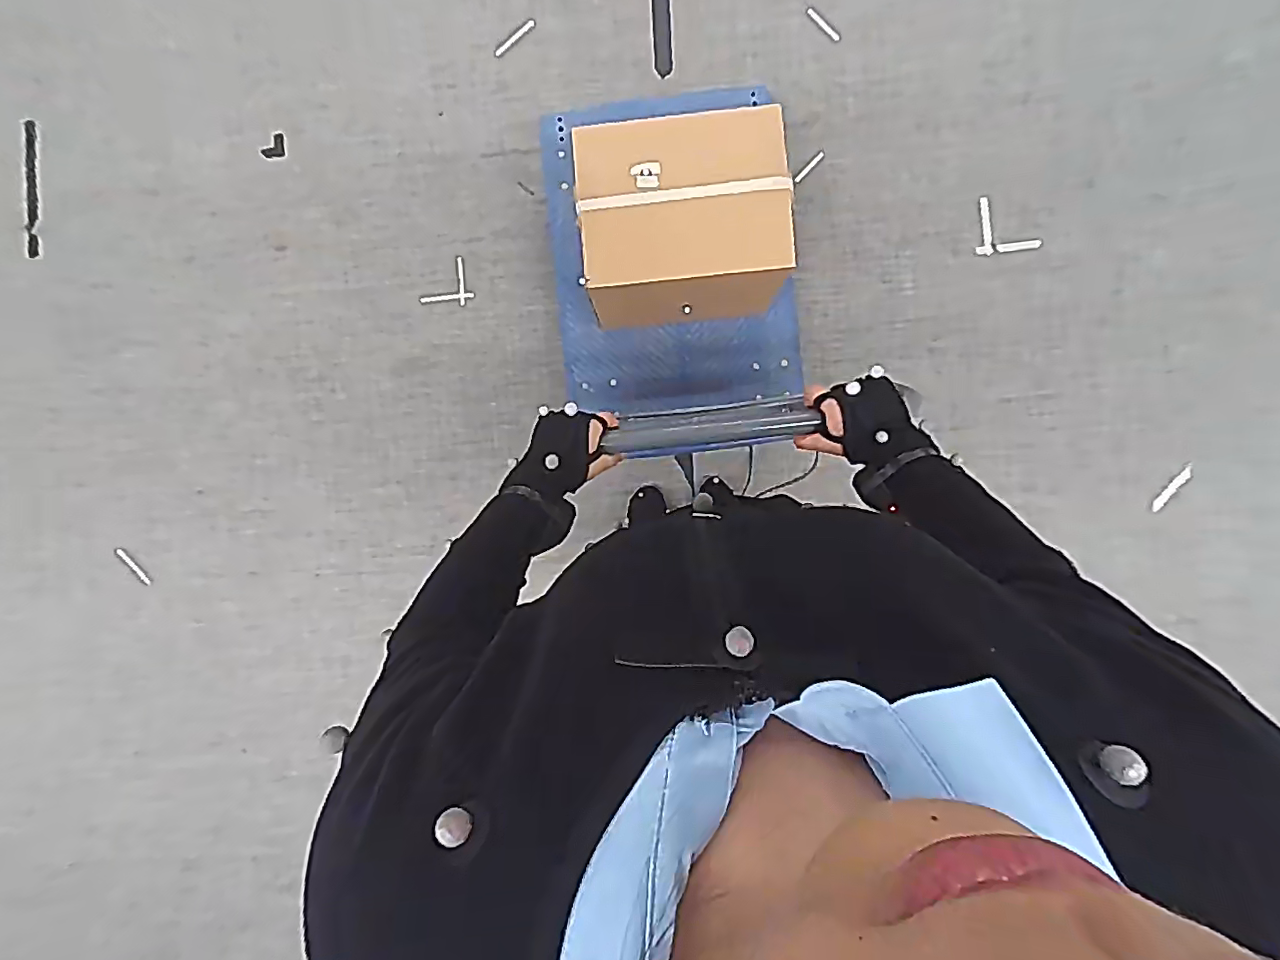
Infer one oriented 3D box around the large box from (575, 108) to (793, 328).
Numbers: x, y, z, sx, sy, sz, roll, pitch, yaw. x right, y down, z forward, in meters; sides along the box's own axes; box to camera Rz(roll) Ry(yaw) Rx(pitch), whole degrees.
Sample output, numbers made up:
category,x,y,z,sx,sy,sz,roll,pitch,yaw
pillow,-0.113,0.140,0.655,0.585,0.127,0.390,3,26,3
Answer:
category,x,y,z,sx,sy,sz,roll,pitch,yaw
large box,0.093,-0.549,1.202,0.408,0.320,0.320,-6,89,3
